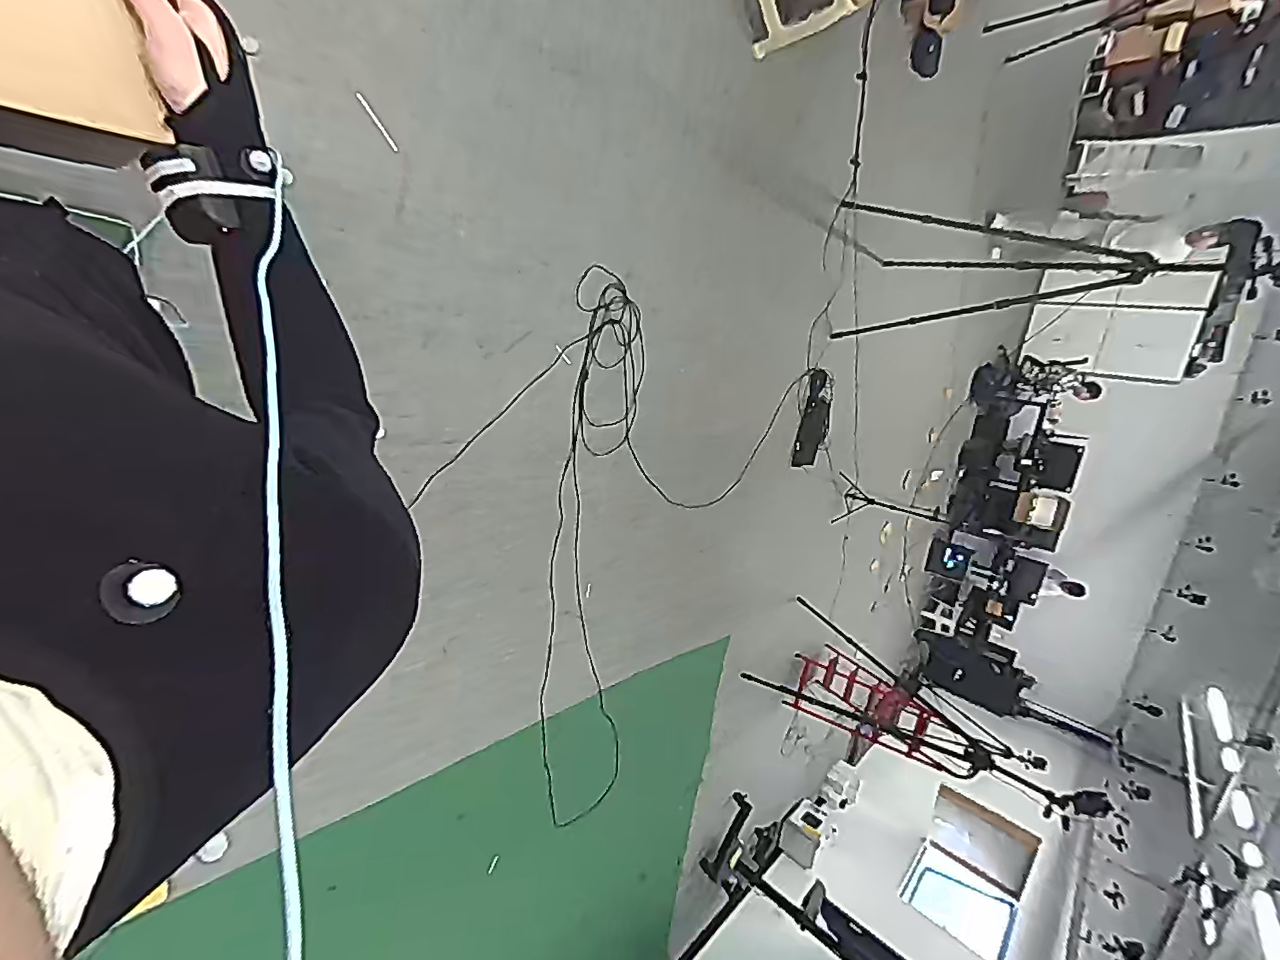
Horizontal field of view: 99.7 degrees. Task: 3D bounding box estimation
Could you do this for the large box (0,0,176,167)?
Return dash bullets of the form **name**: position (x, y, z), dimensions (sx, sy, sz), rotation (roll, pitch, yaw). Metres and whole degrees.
- **large box**: position (-0.602, -0.425, 0.338), dimensions (0.408, 0.320, 0.320), rotation (-13, 117, -47)
